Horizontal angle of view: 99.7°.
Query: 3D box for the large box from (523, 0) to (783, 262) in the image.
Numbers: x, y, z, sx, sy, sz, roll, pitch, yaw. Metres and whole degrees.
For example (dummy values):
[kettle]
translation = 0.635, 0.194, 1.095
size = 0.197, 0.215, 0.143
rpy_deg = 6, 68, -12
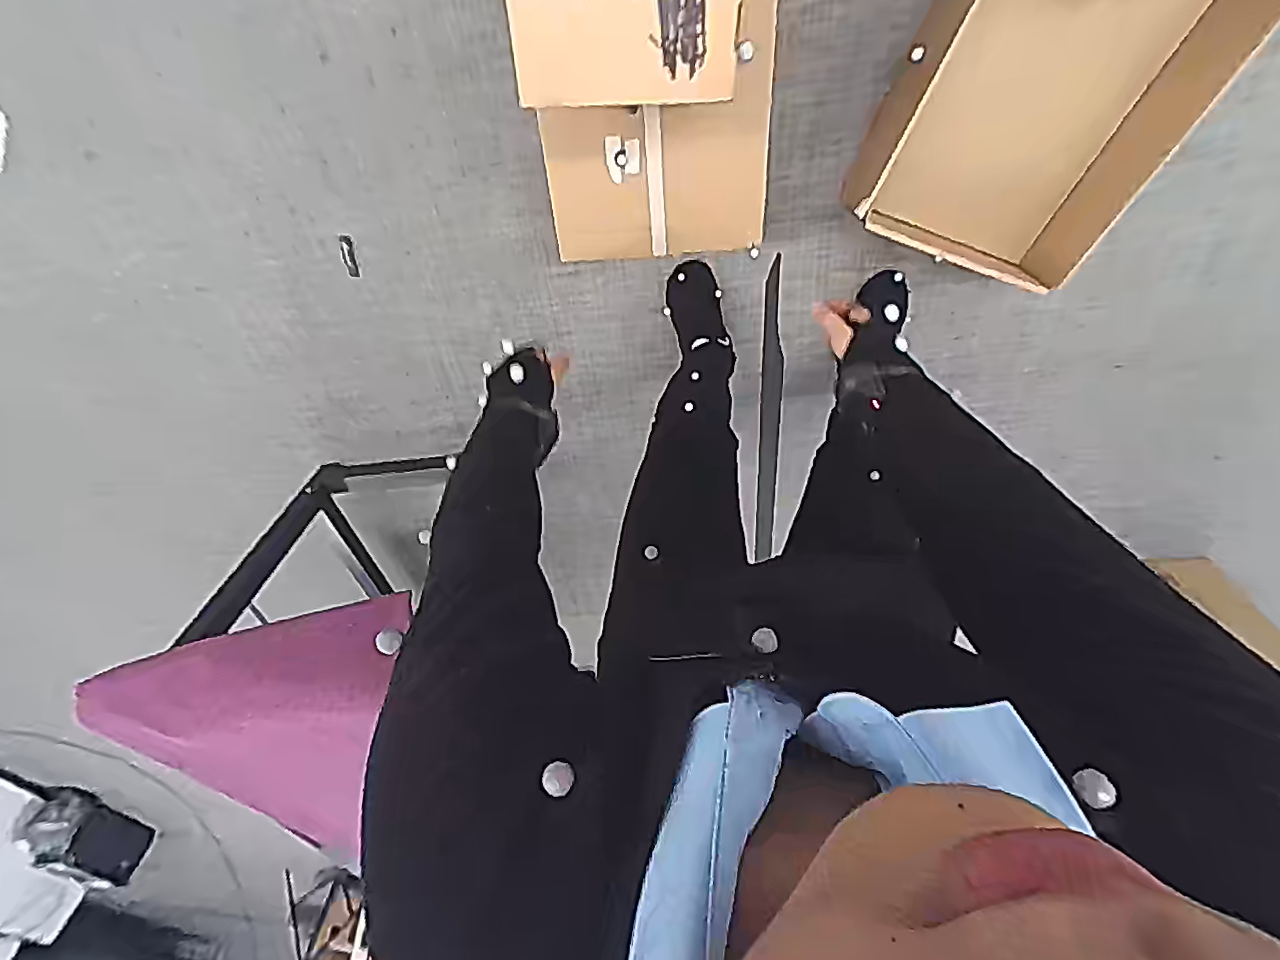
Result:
[large box]
translation = 0.031, -0.597, 0.821
size = 0.320, 0.320, 0.408
rpy_deg = -2, 130, 6
